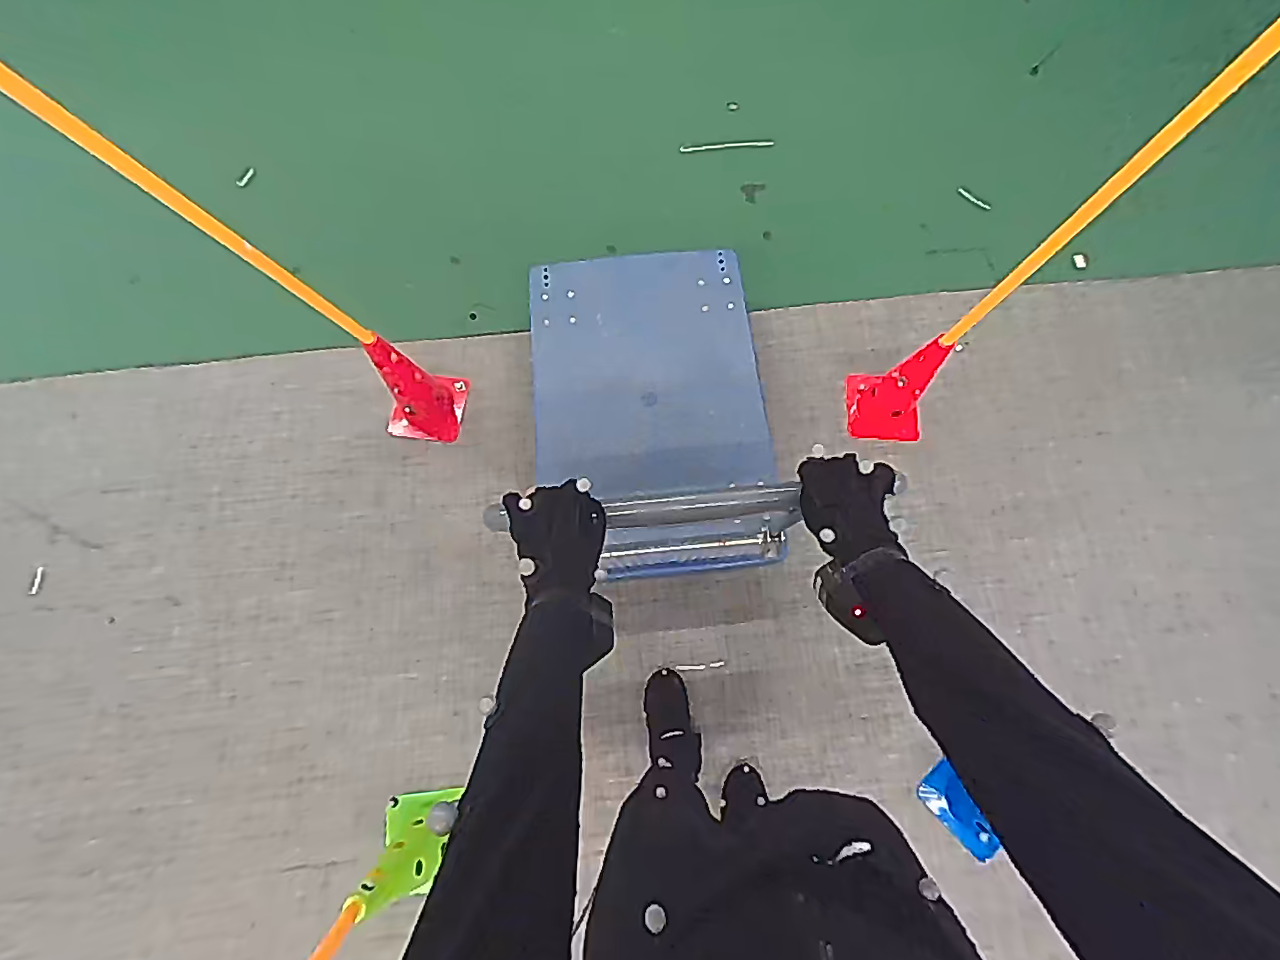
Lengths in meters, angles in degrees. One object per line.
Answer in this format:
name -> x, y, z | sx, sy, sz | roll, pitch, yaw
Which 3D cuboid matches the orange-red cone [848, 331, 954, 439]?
orange-red cone -> 0.683, -0.262, 1.361 | 0.198, 0.360, 0.199 | 5, 74, 3
